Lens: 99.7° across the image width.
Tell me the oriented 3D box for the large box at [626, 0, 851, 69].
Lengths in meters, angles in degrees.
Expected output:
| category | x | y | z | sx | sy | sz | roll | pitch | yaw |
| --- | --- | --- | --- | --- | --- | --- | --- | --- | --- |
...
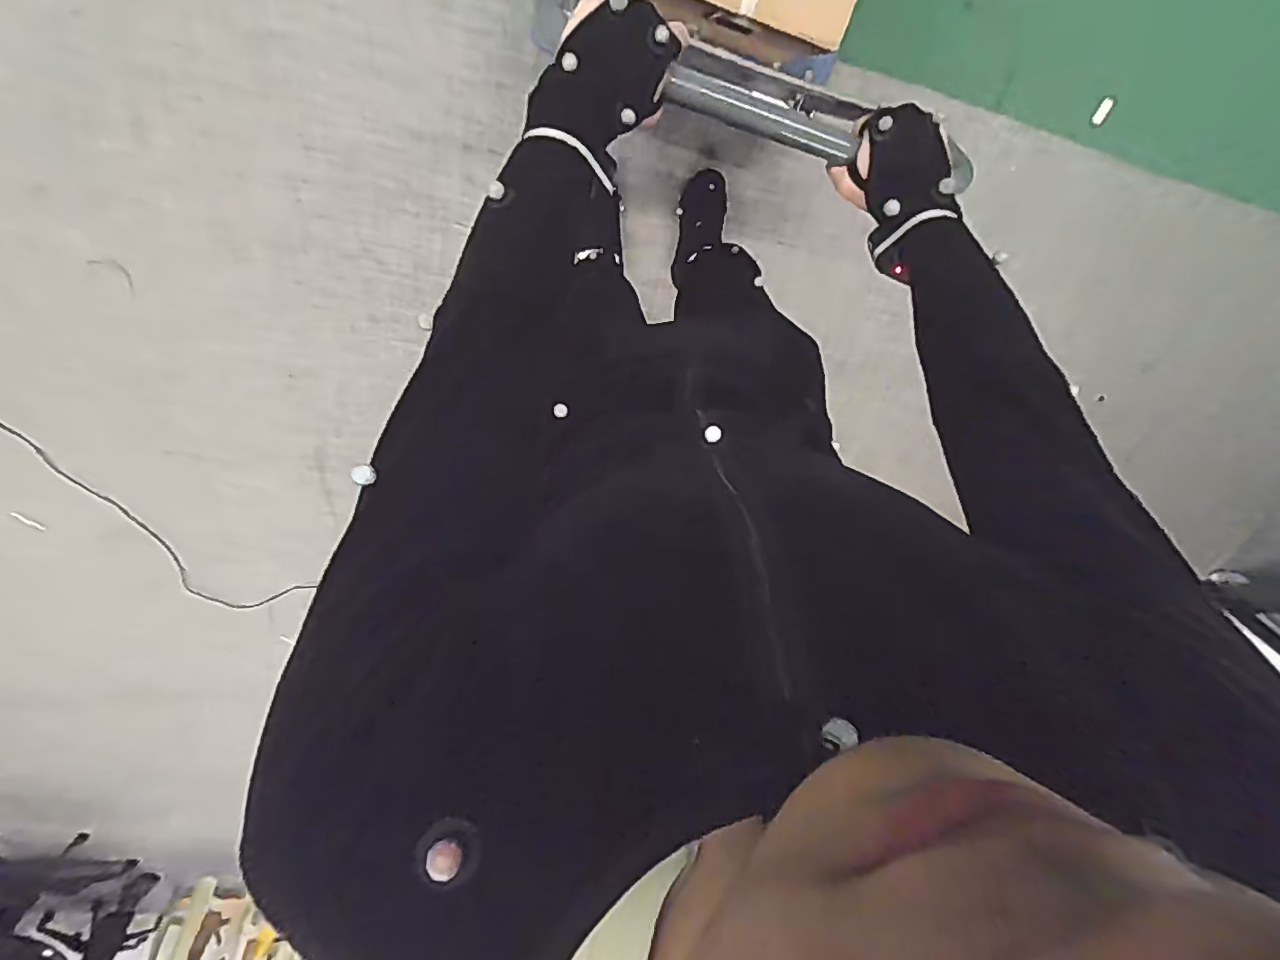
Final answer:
| category | x | y | z | sx | sy | sz | roll | pitch | yaw |
| --- | --- | --- | --- | --- | --- | --- | --- | --- | --- |
| large box | 0.177 | -0.908 | 0.808 | 0.320 | 0.320 | 0.408 | 9 | 123 | -14 |
